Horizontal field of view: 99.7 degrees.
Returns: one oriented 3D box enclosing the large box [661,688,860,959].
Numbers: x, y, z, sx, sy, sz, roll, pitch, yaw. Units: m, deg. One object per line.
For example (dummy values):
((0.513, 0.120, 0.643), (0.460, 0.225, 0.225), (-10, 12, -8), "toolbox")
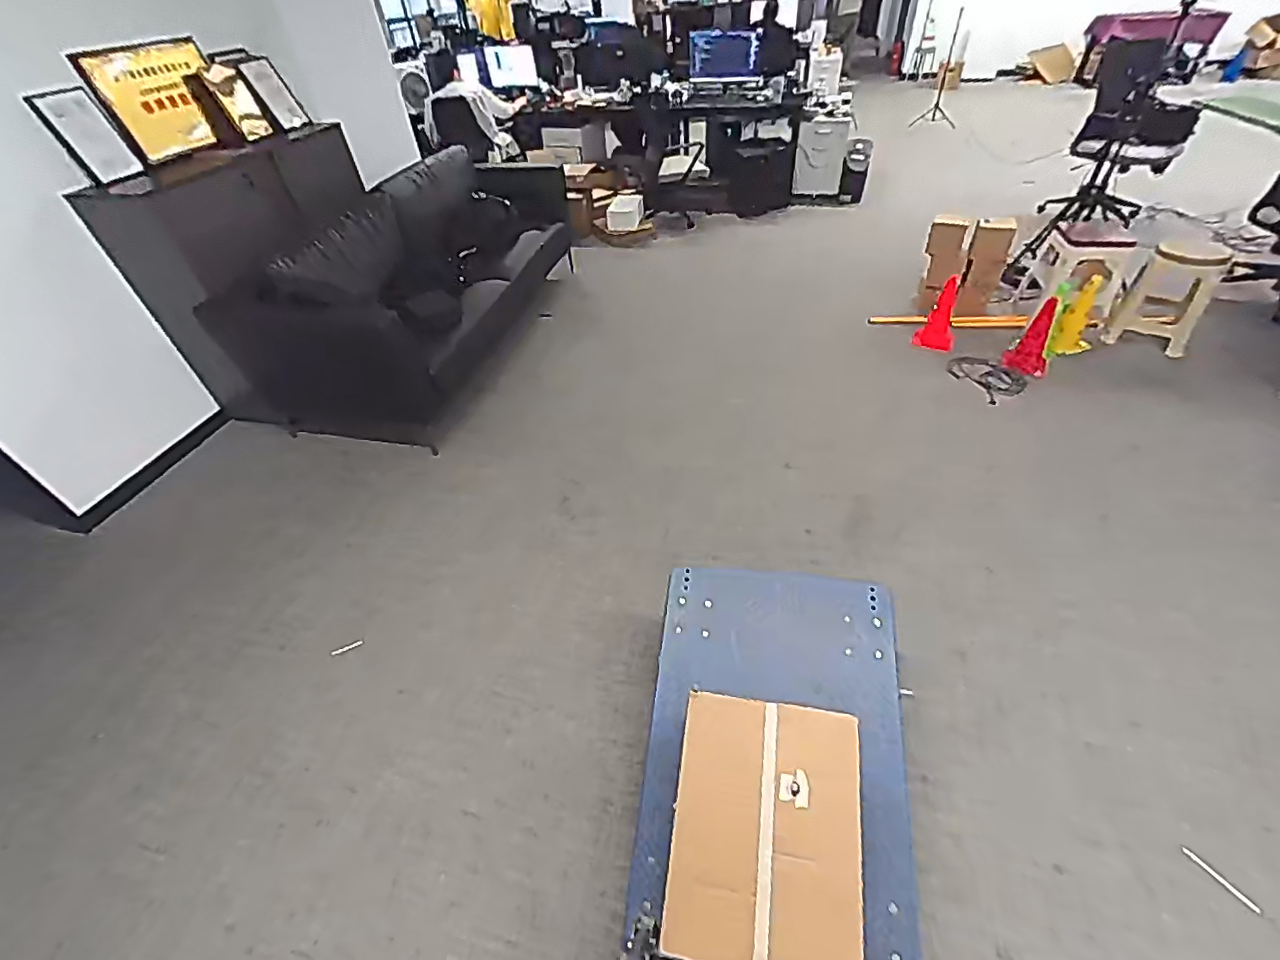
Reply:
((0.229, 0.664, 1.063), (0.320, 0.320, 0.408), (5, 61, 10), "large box")
